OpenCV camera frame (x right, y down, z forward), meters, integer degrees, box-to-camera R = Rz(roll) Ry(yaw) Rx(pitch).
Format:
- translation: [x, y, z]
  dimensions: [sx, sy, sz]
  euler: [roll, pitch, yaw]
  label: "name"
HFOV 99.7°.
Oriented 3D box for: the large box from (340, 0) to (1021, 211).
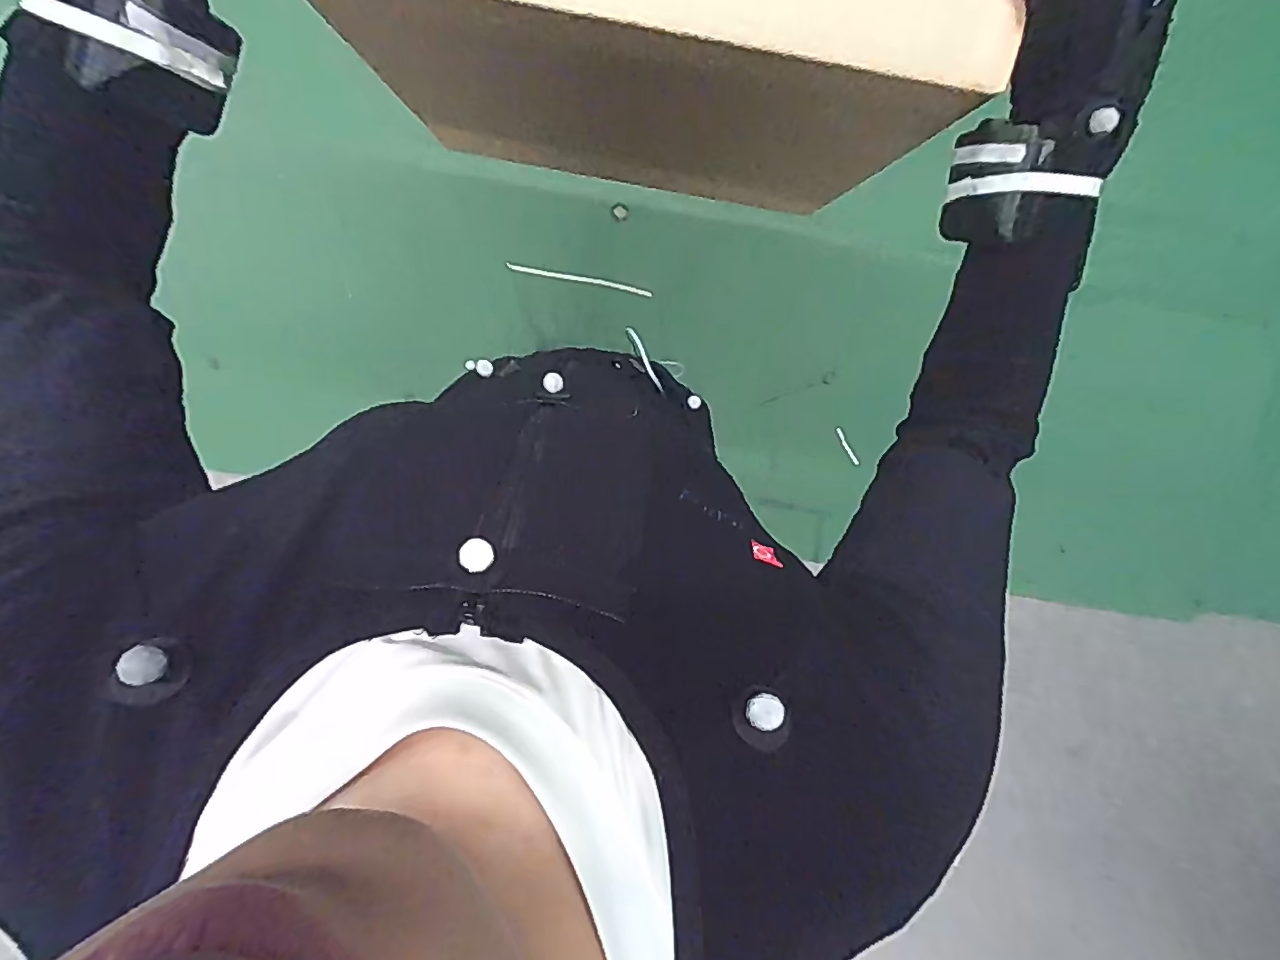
- translation: [0.025, -0.432, 0.408]
  dimensions: [0.408, 0.320, 0.320]
  euler: [8, 104, -5]
  label: "large box"
